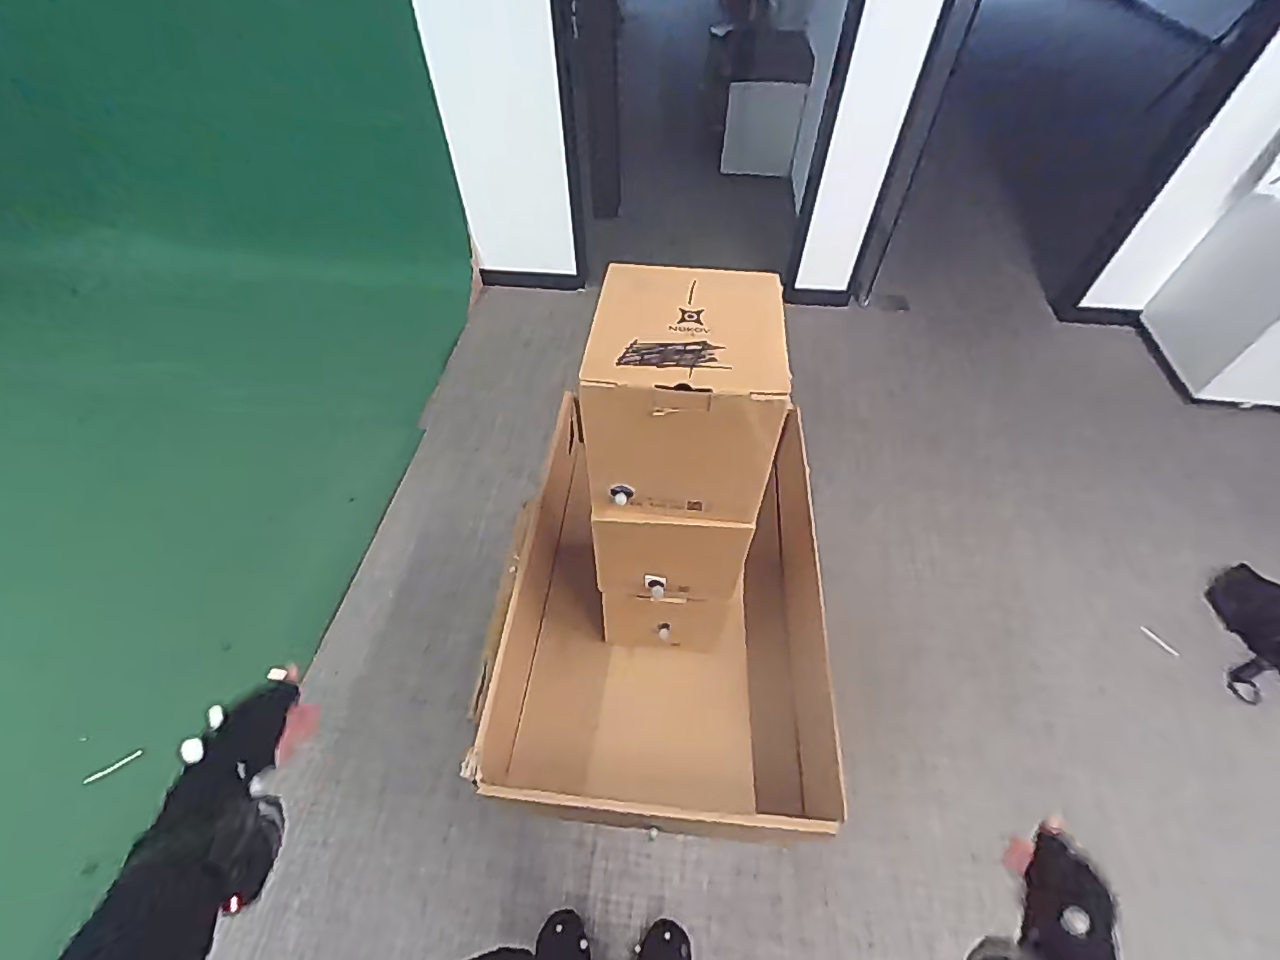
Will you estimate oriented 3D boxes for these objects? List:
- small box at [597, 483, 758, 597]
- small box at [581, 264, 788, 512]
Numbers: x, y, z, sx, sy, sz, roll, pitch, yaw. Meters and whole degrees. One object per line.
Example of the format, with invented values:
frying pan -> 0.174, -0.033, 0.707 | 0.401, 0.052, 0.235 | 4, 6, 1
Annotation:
small box -> 0.041, 0.022, 0.655 | 0.168, 0.176, 0.179 | 2, 53, 2
small box -> 0.044, -0.086, 0.531 | 0.168, 0.176, 0.179 | 5, 51, 4
